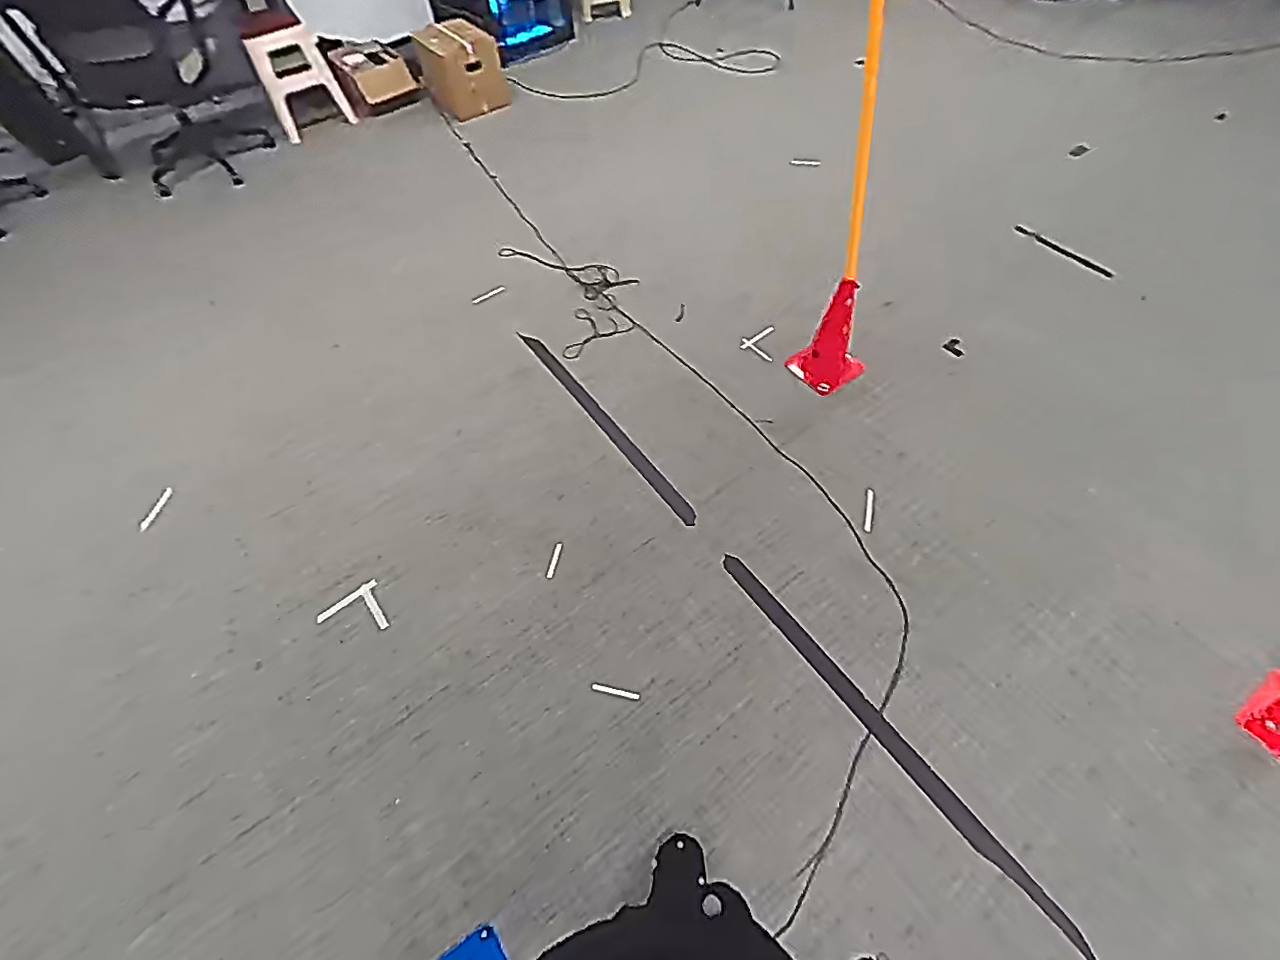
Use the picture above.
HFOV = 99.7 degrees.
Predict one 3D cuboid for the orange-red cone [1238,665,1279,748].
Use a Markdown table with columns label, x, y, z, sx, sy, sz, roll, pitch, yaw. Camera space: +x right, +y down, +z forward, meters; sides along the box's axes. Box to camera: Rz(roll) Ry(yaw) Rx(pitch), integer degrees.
| label | x | y | z | sx | sy | sz | roll | pitch | yaw |
| --- | --- | --- | --- | --- | --- | --- | --- | --- | --- |
| orange-red cone | 1.429 | 0.434 | 1.021 | 0.198 | 0.360 | 0.199 | -31 | 61 | -14 |

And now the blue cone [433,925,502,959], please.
| label | x | y | z | sx | sy | sz | roll | pitch | yaw |
| --- | --- | --- | --- | --- | --- | --- | --- | --- | --- |
| blue cone | -0.350 | 0.914 | 0.891 | 0.193 | 0.380 | 0.192 | -30 | 60 | -14 |
